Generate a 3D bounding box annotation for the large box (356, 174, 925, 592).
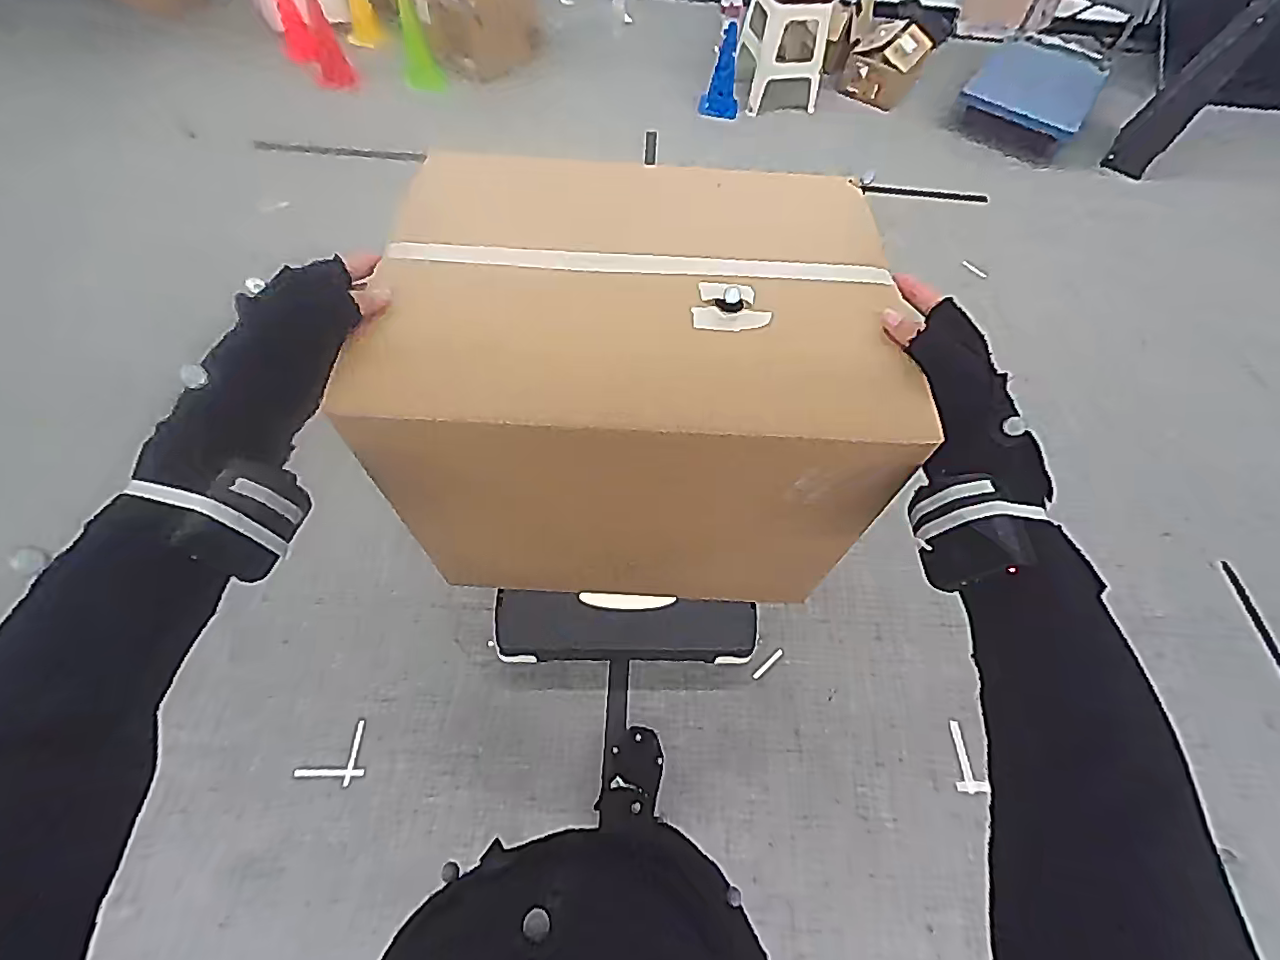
[{"bbox_3d":[-0.003,-0.082,0.574,0.408,0.320,0.320,3,59,-2],"label":"large box"}]
